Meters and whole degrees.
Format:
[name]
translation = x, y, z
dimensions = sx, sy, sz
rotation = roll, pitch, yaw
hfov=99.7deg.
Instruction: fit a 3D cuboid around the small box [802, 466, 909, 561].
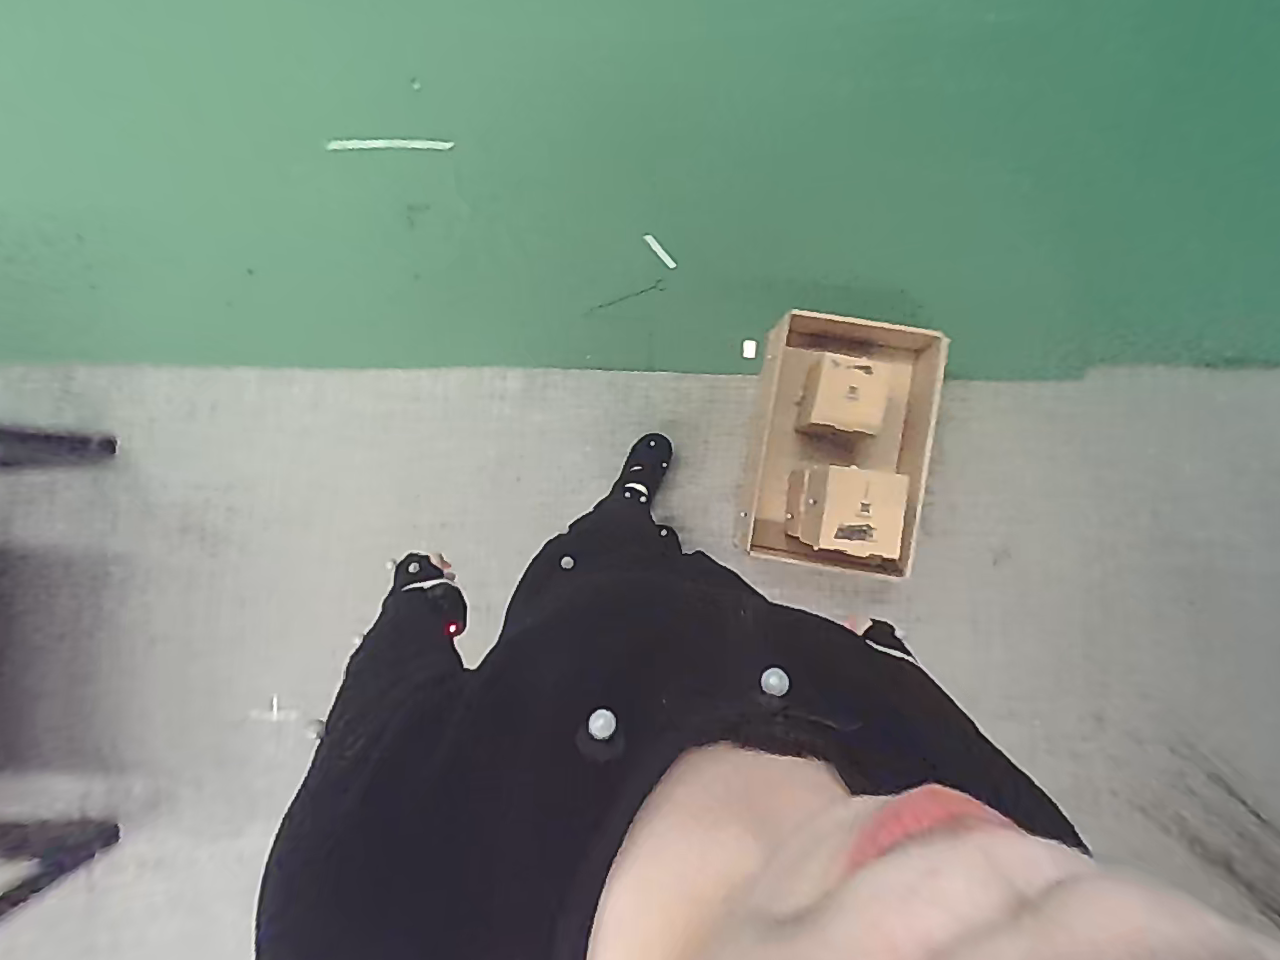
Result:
[small box]
translation = 0.467, 0.071, 1.195
dimensions = 0.168, 0.176, 0.179
rotation = 8, 88, 3
